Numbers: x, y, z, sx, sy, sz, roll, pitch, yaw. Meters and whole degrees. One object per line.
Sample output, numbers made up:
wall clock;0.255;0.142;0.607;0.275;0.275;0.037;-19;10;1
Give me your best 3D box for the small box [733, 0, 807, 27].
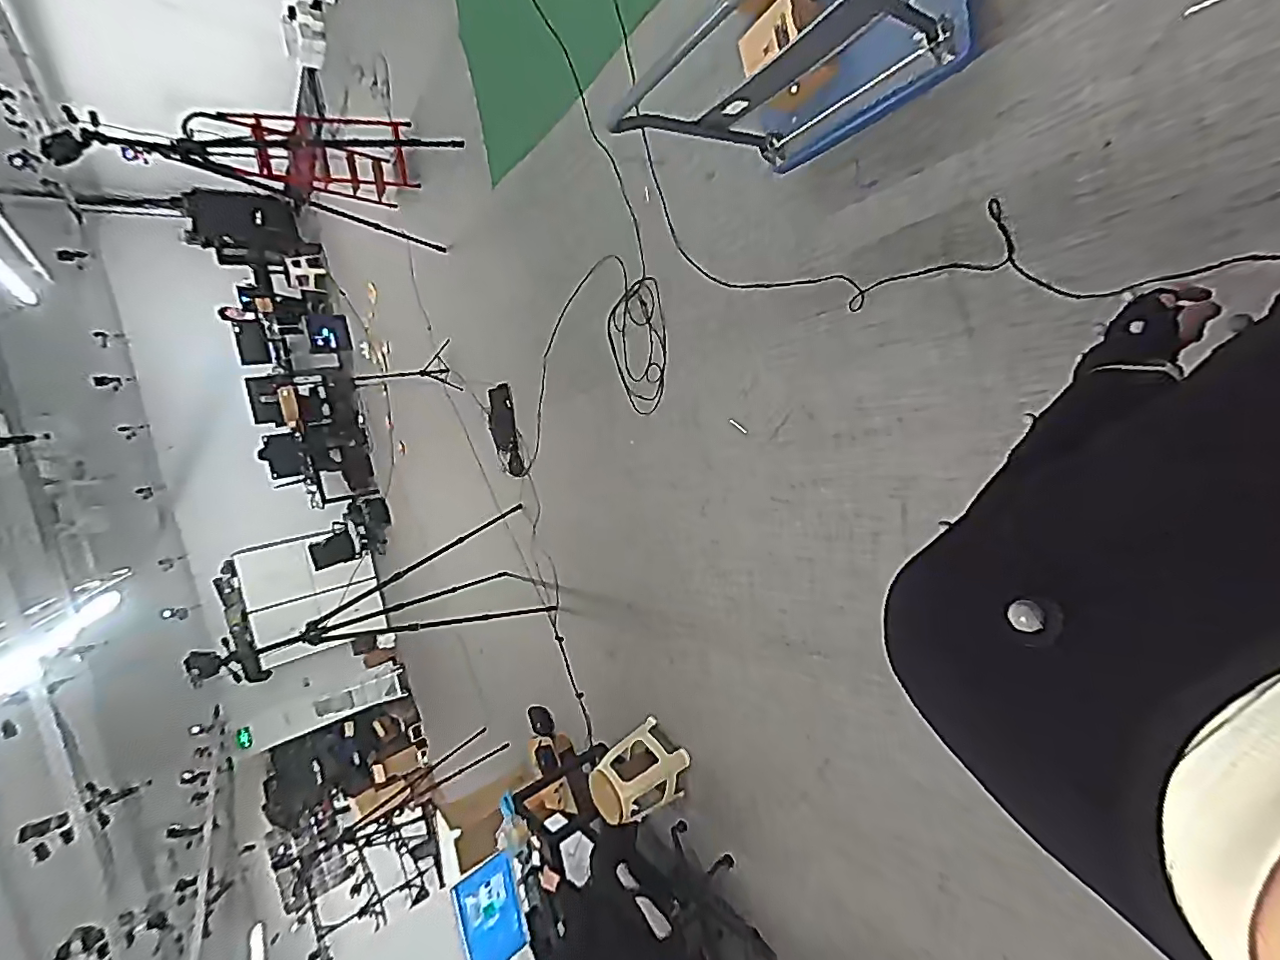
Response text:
small box;0.359;-1.371;1.445;0.179;0.176;0.168;-3;99;51
